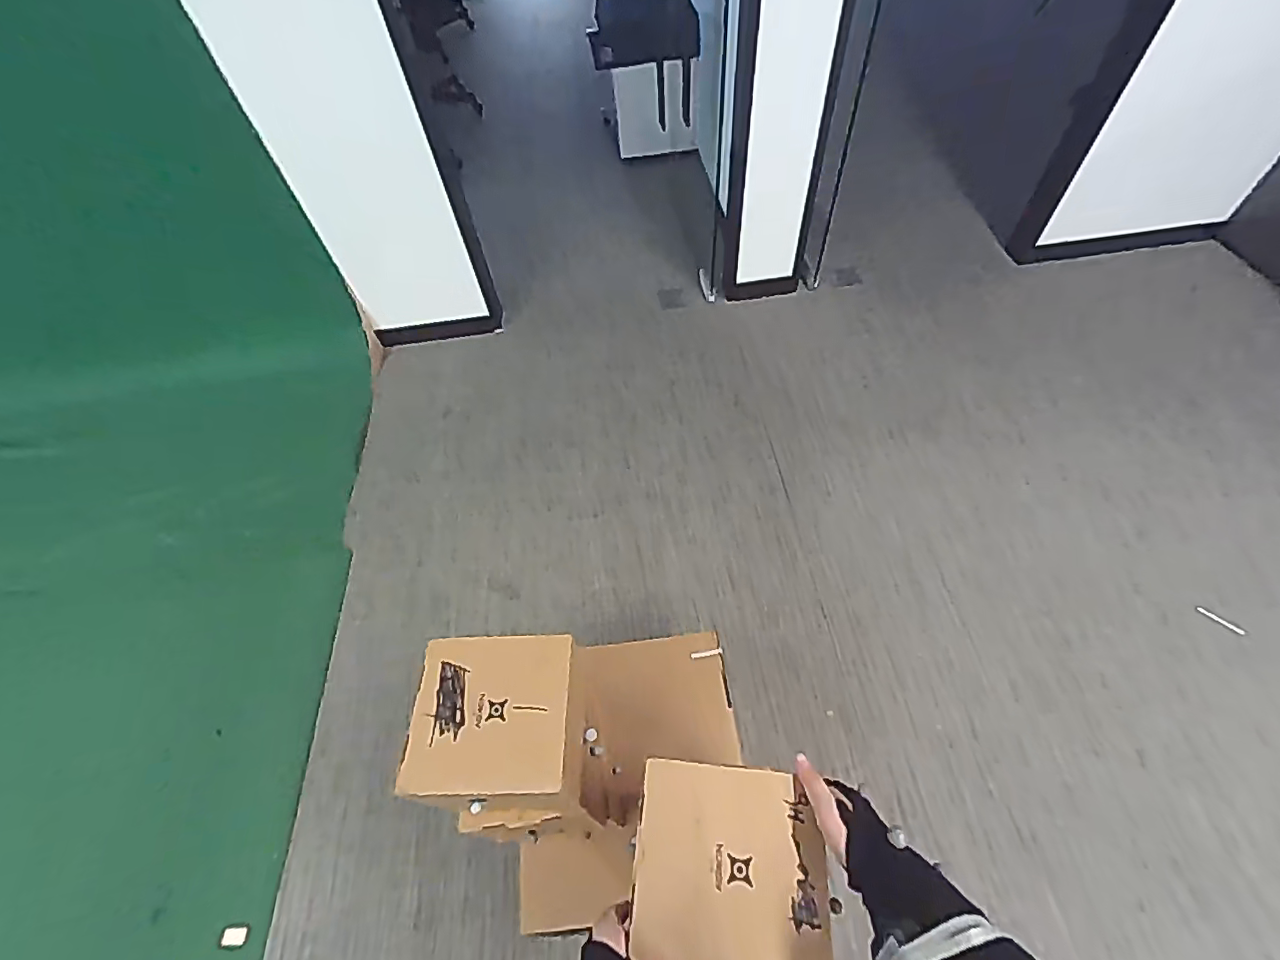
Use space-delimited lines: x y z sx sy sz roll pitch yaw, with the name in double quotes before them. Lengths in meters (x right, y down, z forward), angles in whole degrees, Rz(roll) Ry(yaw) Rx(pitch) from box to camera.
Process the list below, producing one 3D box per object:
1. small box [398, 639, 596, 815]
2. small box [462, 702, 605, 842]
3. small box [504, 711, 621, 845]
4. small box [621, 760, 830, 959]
"small box" -0.156 0.305 0.660 0.179 0.176 0.168 -3 54 3
"small box" -0.143 0.411 0.786 0.168 0.176 0.179 -7 54 0
"small box" -0.127 0.507 0.917 0.179 0.176 0.168 -8 52 -1
"small box" 0.087 0.401 0.554 0.179 0.176 0.168 3 56 8
